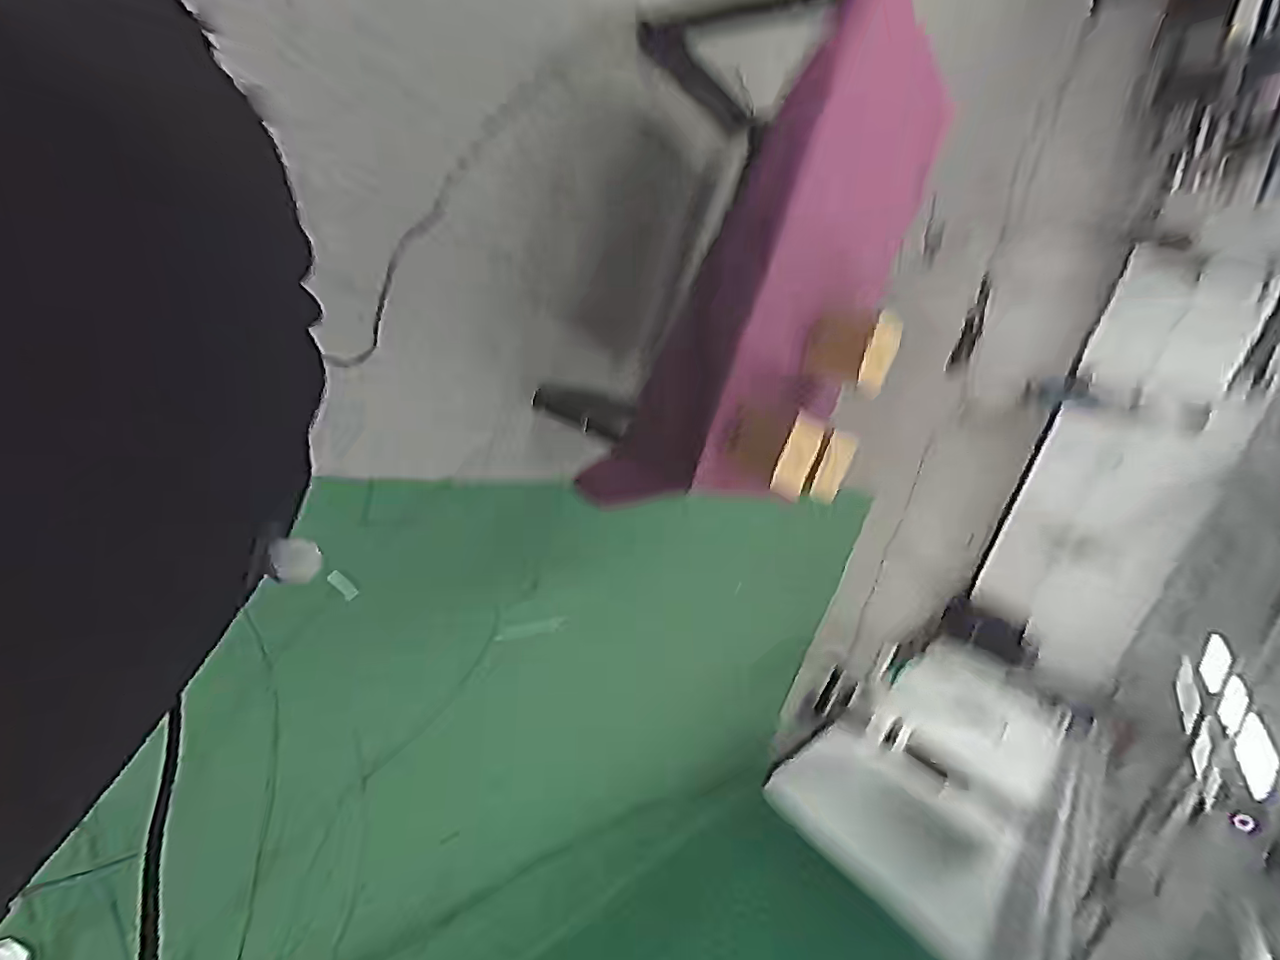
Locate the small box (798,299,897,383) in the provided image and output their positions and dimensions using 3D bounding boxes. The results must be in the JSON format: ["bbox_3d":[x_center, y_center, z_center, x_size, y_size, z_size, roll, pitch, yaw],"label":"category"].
[{"bbox_3d":[0.563,-0.380,1.473,0.179,0.176,0.168,4,109,-48],"label":"small box"}]

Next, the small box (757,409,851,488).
[{"bbox_3d":[0.466,-0.091,1.544,0.179,0.176,0.168,10,104,-51],"label":"small box"}]
